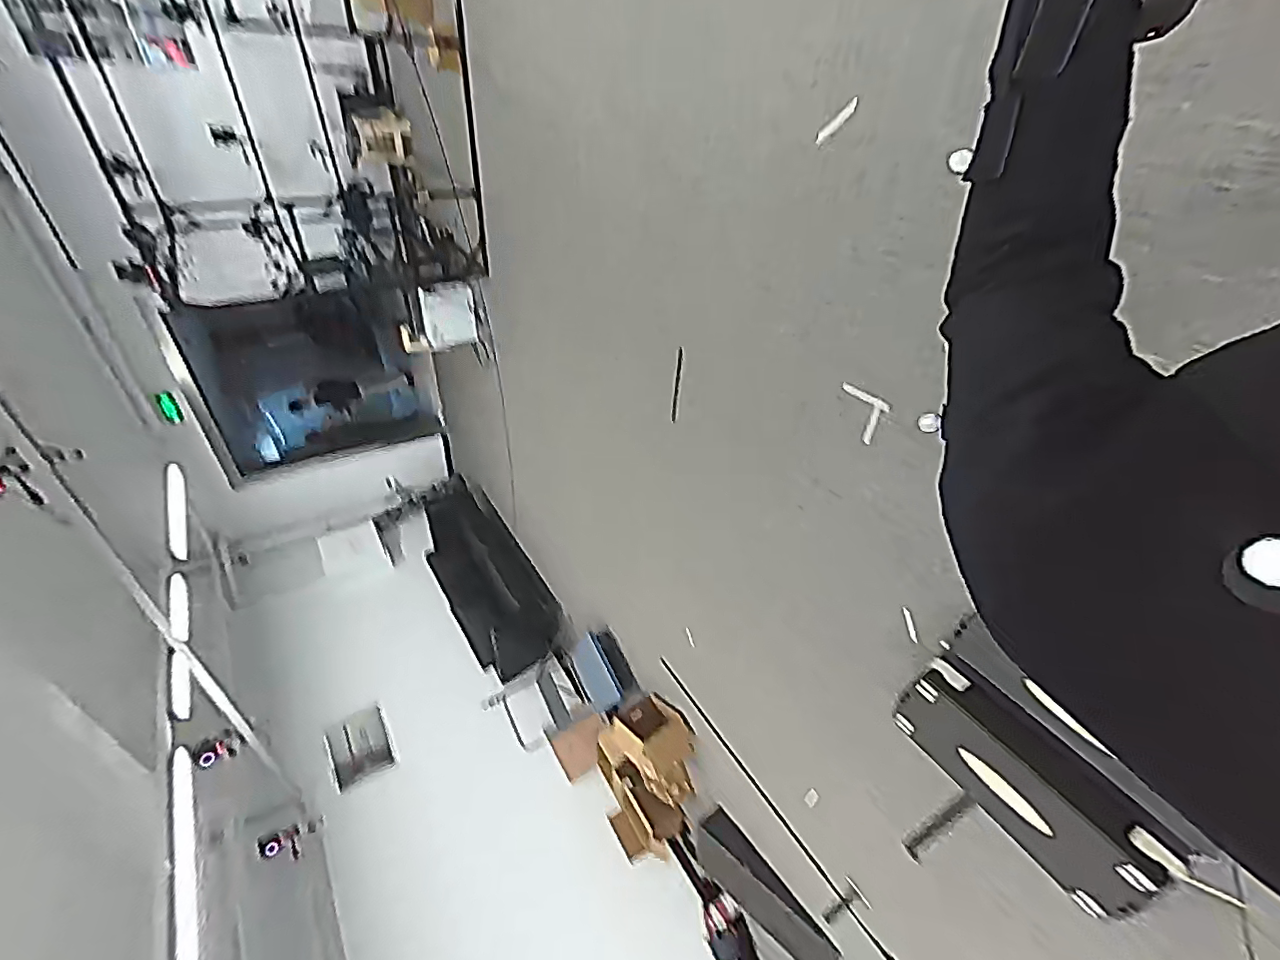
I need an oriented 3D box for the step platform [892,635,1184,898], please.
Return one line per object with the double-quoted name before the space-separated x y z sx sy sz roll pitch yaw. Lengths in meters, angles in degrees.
"step platform" 1.091 0.802 1.574 0.684 0.204 0.286 47 144 40
